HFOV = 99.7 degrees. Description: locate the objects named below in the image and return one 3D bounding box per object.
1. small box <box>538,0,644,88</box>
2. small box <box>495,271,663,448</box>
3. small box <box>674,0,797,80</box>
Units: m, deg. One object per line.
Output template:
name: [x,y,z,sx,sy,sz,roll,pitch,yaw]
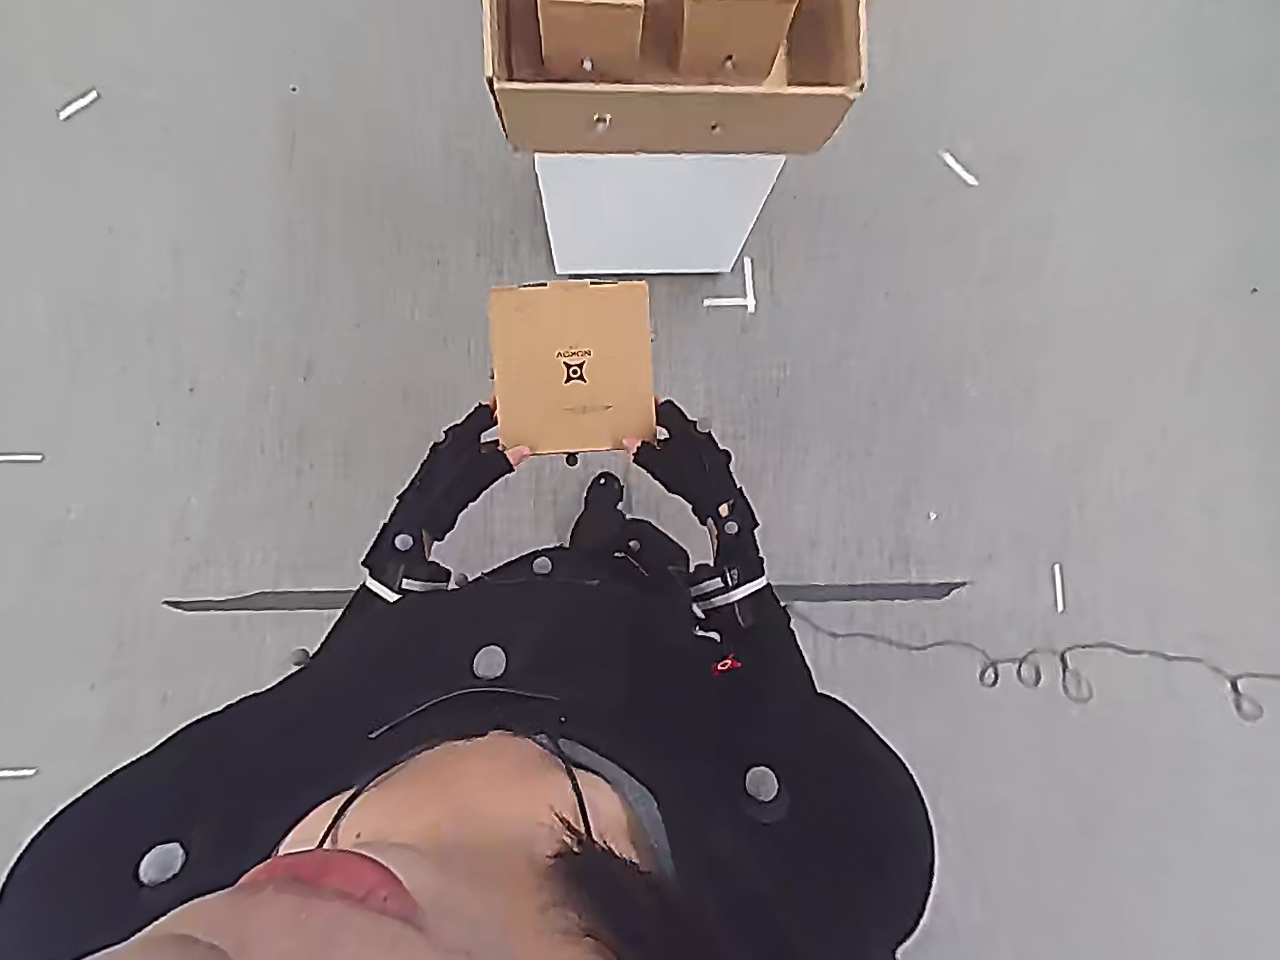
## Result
small box: [-0.085,-0.808,0.908,0.168,0.176,0.179,-2,91,-5]
small box: [-0.070,-0.128,0.633,0.168,0.176,0.179,-5,95,-5]
small box: [0.156,-0.826,0.927,0.179,0.176,0.168,-1,89,-3]
